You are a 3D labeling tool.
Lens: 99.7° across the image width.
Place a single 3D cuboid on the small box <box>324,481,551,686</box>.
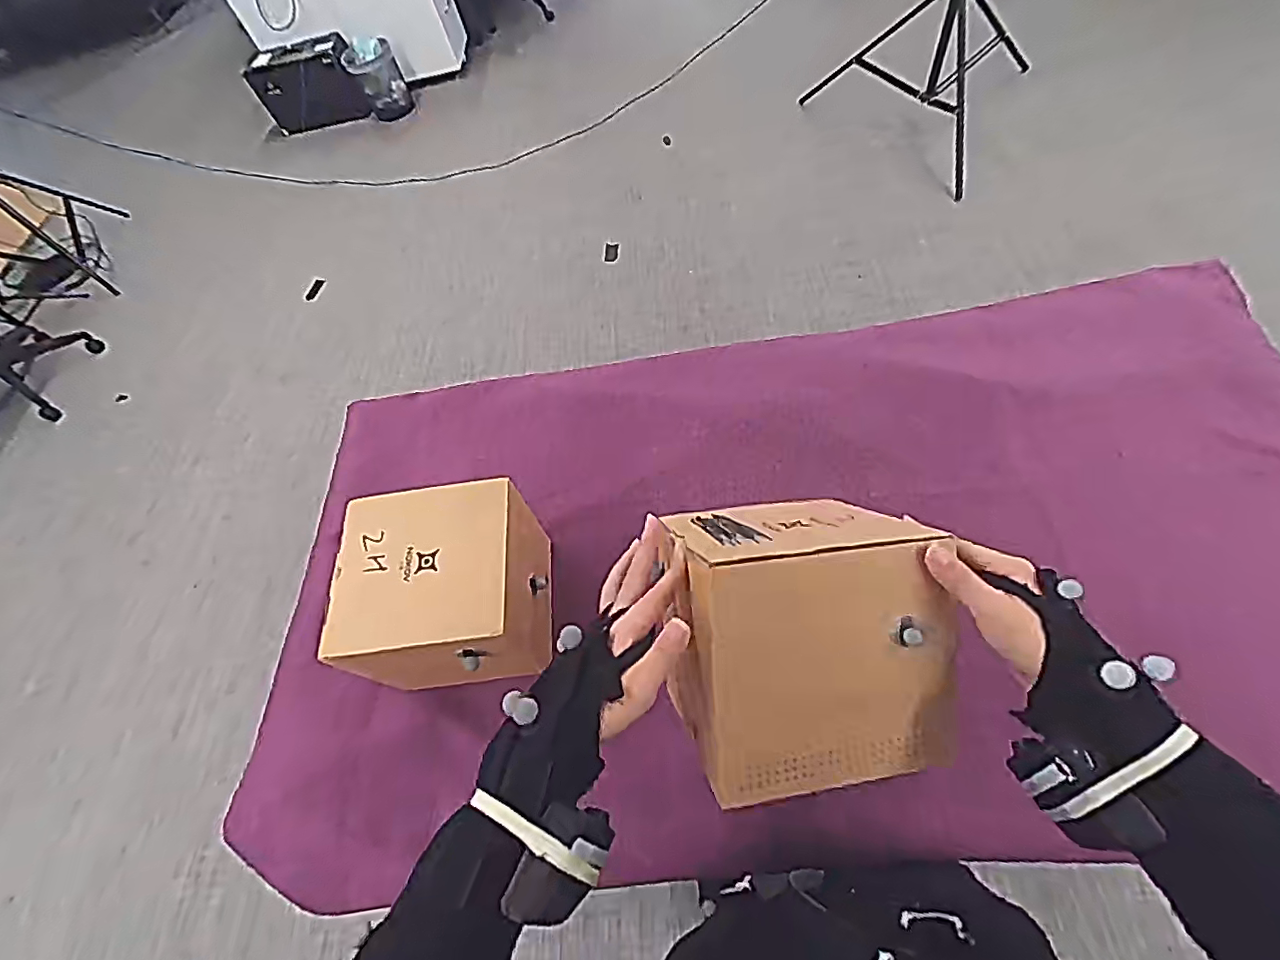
[{"bbox_3d":[-0.200,0.121,0.595,0.179,0.176,0.168,-8,59,3],"label":"small box"}]
